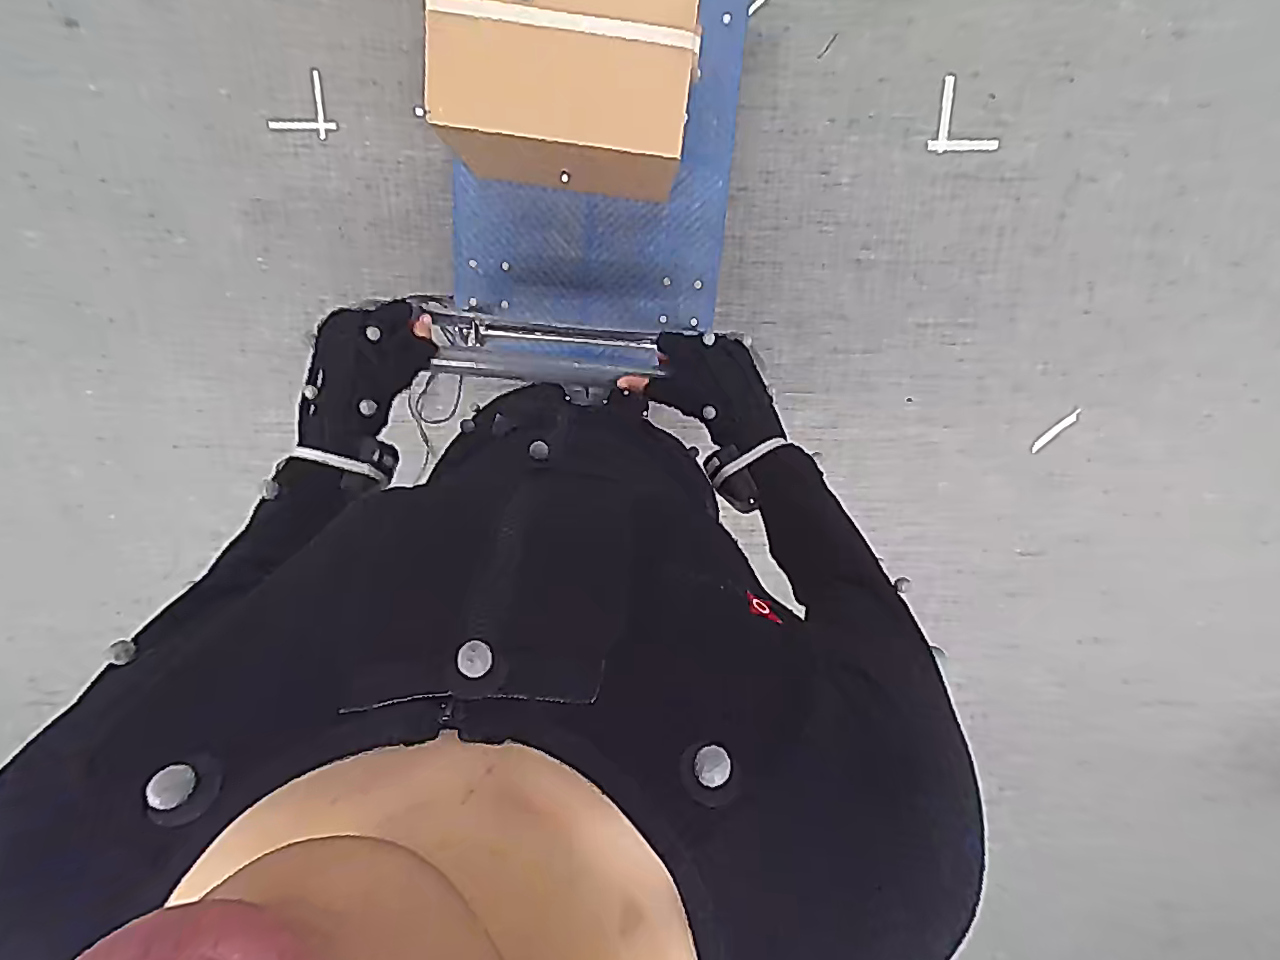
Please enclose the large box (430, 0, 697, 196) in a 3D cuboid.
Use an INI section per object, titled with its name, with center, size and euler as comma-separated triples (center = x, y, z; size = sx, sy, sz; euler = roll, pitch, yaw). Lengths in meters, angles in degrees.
[large box]
center = -0.118, -0.723, 0.962
size = 0.408, 0.320, 0.320
euler = 6, 105, -2
